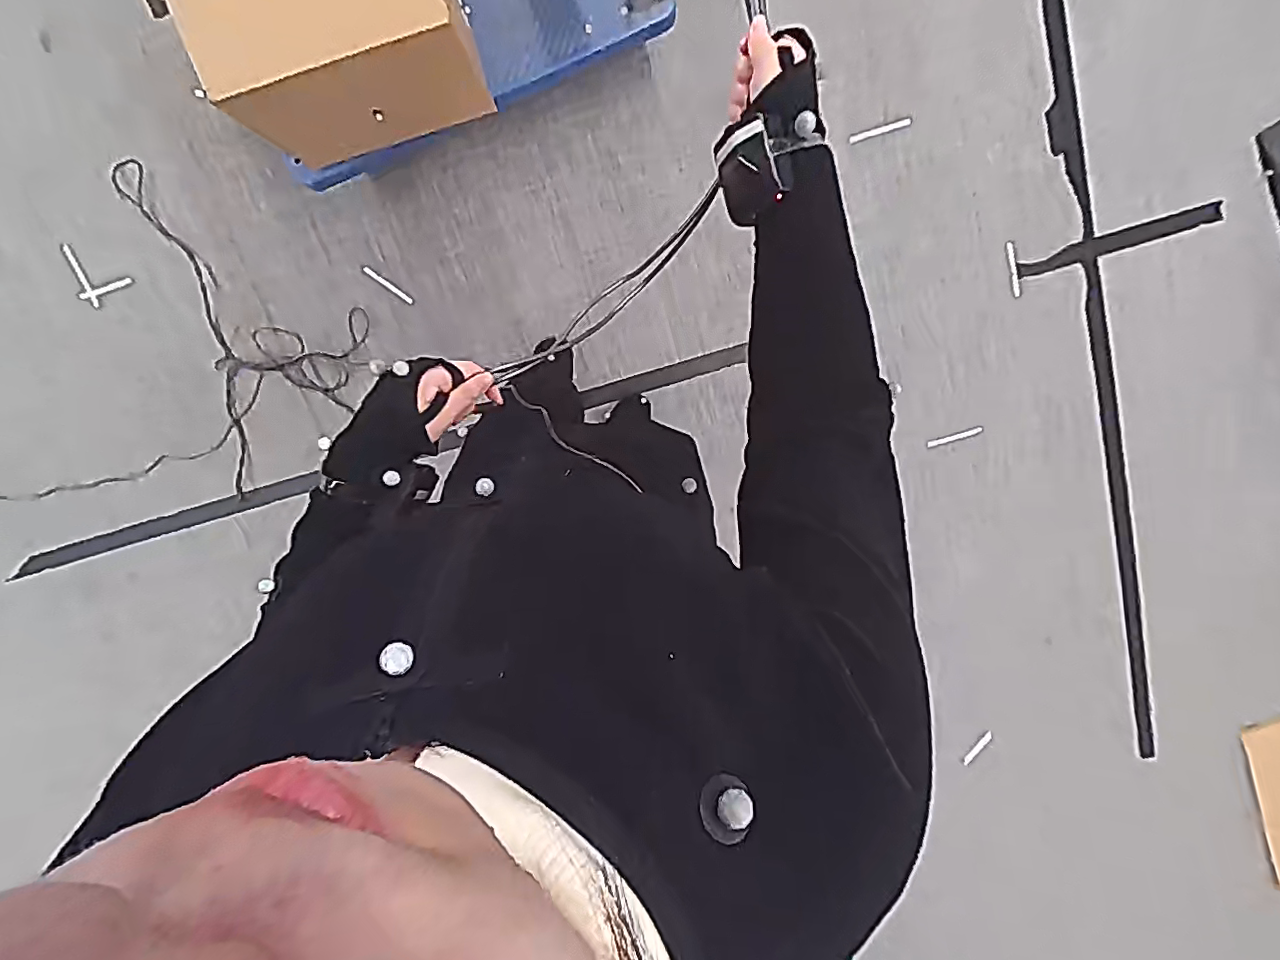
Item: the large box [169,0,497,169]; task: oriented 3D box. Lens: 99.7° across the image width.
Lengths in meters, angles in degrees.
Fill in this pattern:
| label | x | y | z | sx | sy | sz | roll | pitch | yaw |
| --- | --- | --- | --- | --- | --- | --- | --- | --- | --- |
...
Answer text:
| label | x | y | z | sx | sy | sz | roll | pitch | yaw |
| --- | --- | --- | --- | --- | --- | --- | --- | --- | --- |
| large box | -0.521 | -0.813 | 0.948 | 0.408 | 0.320 | 0.320 | -17 | 102 | 3 |
